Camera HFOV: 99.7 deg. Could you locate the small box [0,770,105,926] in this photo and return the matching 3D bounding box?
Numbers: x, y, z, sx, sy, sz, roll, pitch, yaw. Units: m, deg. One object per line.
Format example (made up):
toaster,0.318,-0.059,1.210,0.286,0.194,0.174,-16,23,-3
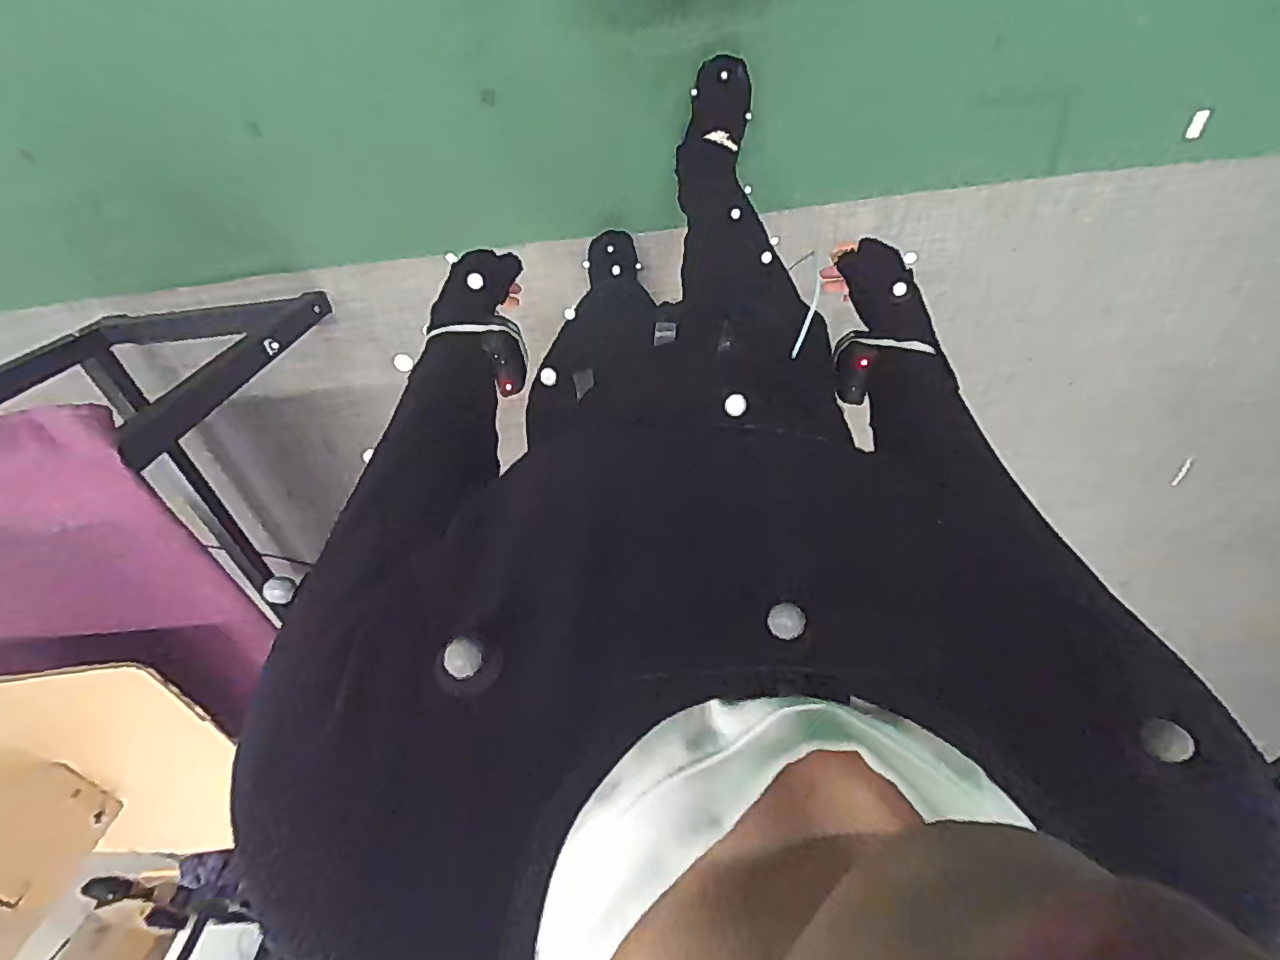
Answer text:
small box,-1.020,0.579,0.855,0.179,0.176,0.168,-5,128,4
